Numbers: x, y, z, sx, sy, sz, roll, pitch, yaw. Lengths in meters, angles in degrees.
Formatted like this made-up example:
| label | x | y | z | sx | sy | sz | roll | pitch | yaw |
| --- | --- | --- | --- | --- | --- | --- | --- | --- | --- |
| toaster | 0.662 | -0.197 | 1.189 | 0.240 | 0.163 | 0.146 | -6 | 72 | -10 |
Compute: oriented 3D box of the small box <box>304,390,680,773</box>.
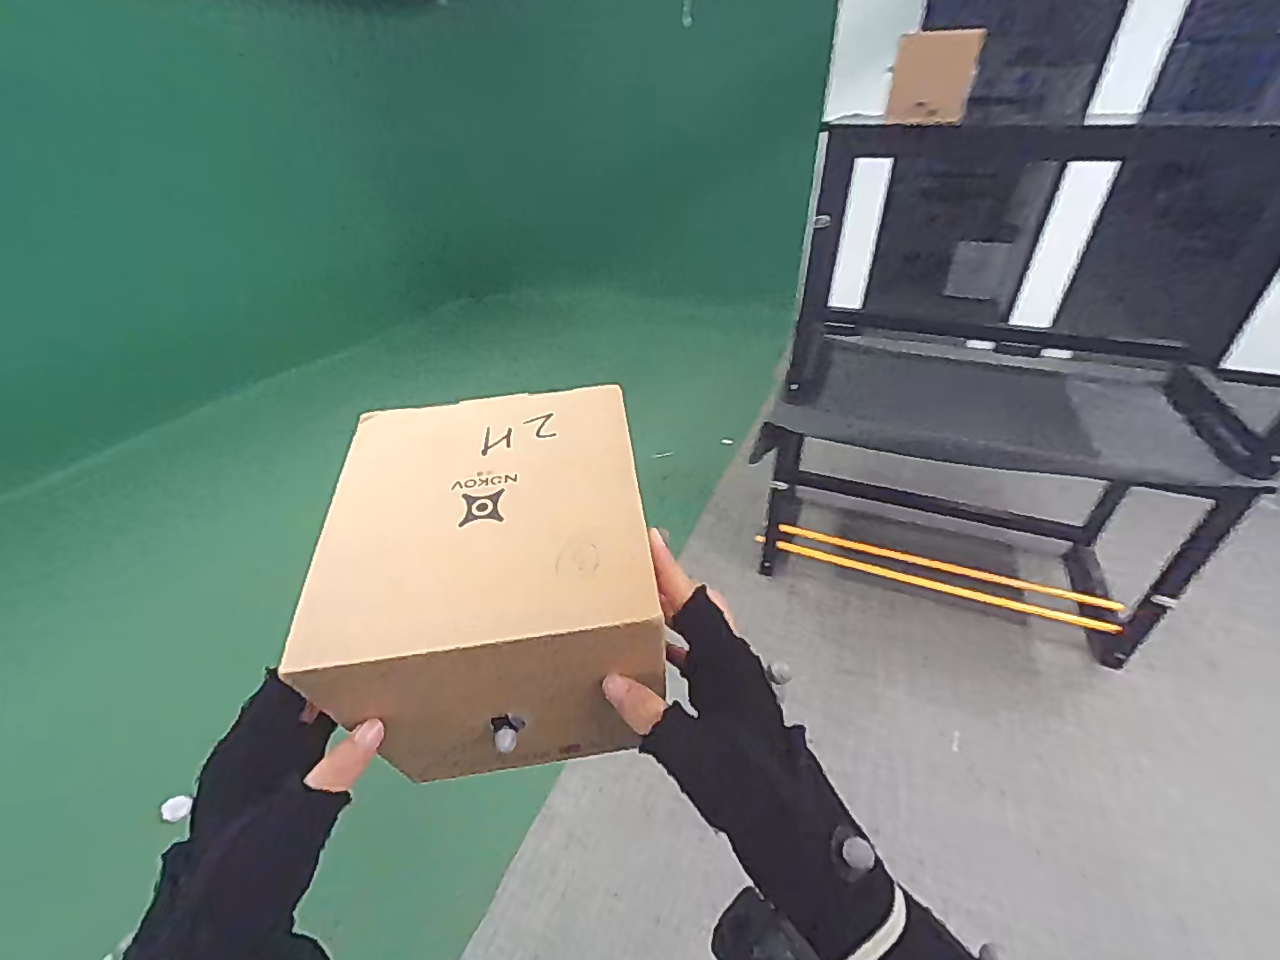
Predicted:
| label | x | y | z | sx | sy | sz | roll | pitch | yaw |
| --- | --- | --- | --- | --- | --- | --- | --- | --- | --- |
| small box | -0.067 | 0.069 | 0.344 | 0.168 | 0.176 | 0.179 | -6 | 46 | -4 |
